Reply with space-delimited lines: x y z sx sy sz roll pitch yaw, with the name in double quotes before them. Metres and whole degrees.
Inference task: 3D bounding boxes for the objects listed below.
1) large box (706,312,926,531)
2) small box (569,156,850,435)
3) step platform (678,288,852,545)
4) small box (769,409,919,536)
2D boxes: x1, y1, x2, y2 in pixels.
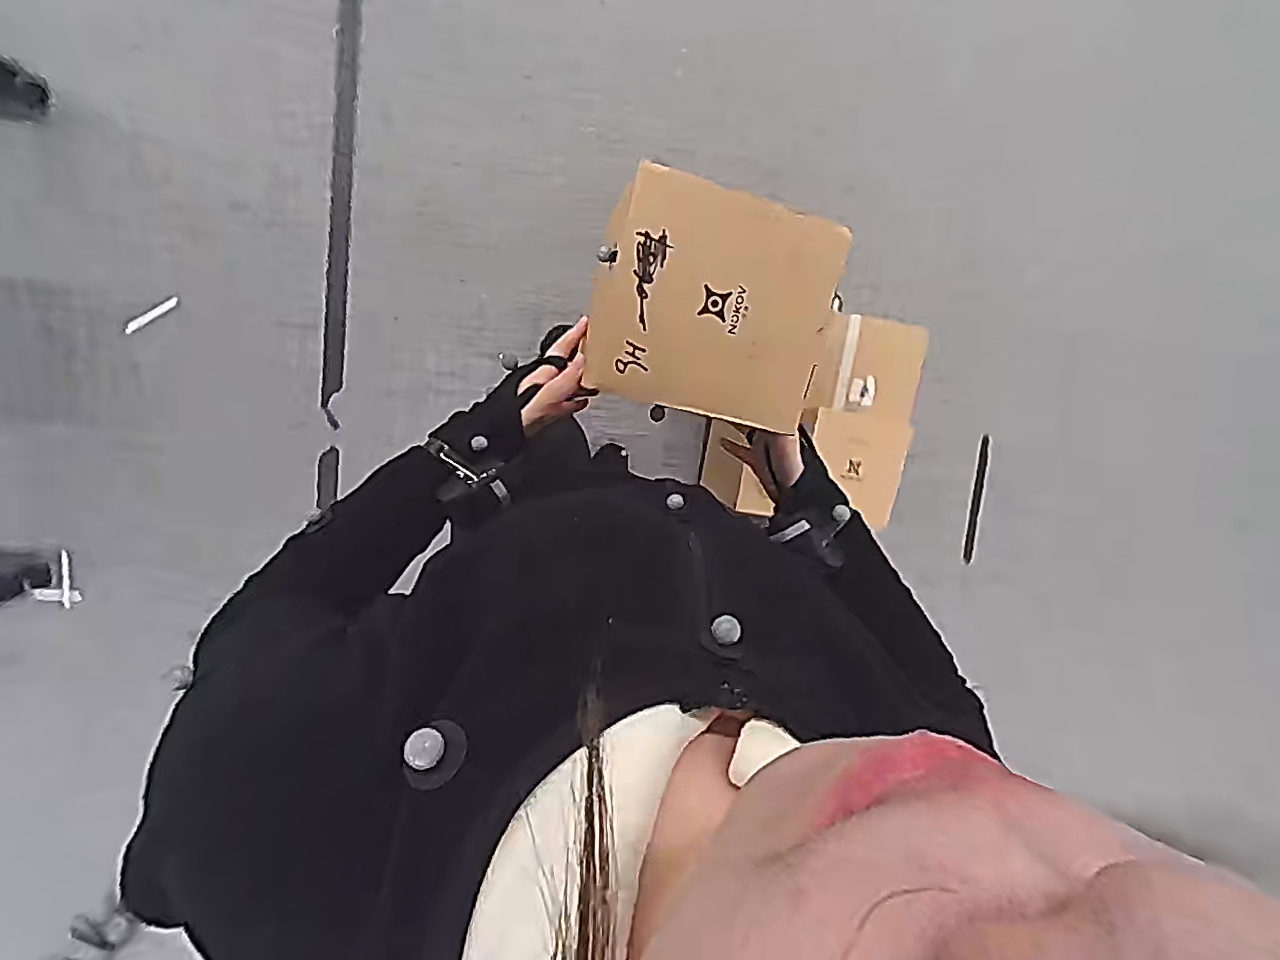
"large box" 0.350 -0.125 1.174 0.320 0.320 0.408 9 95 -8
"small box" 0.044 -0.144 0.477 0.179 0.176 0.168 10 98 -15
"step platform" 0.315 -0.176 1.406 0.286 0.204 0.684 12 95 -8
"small box" 0.339 -0.020 0.938 0.168 0.176 0.179 12 95 -7
